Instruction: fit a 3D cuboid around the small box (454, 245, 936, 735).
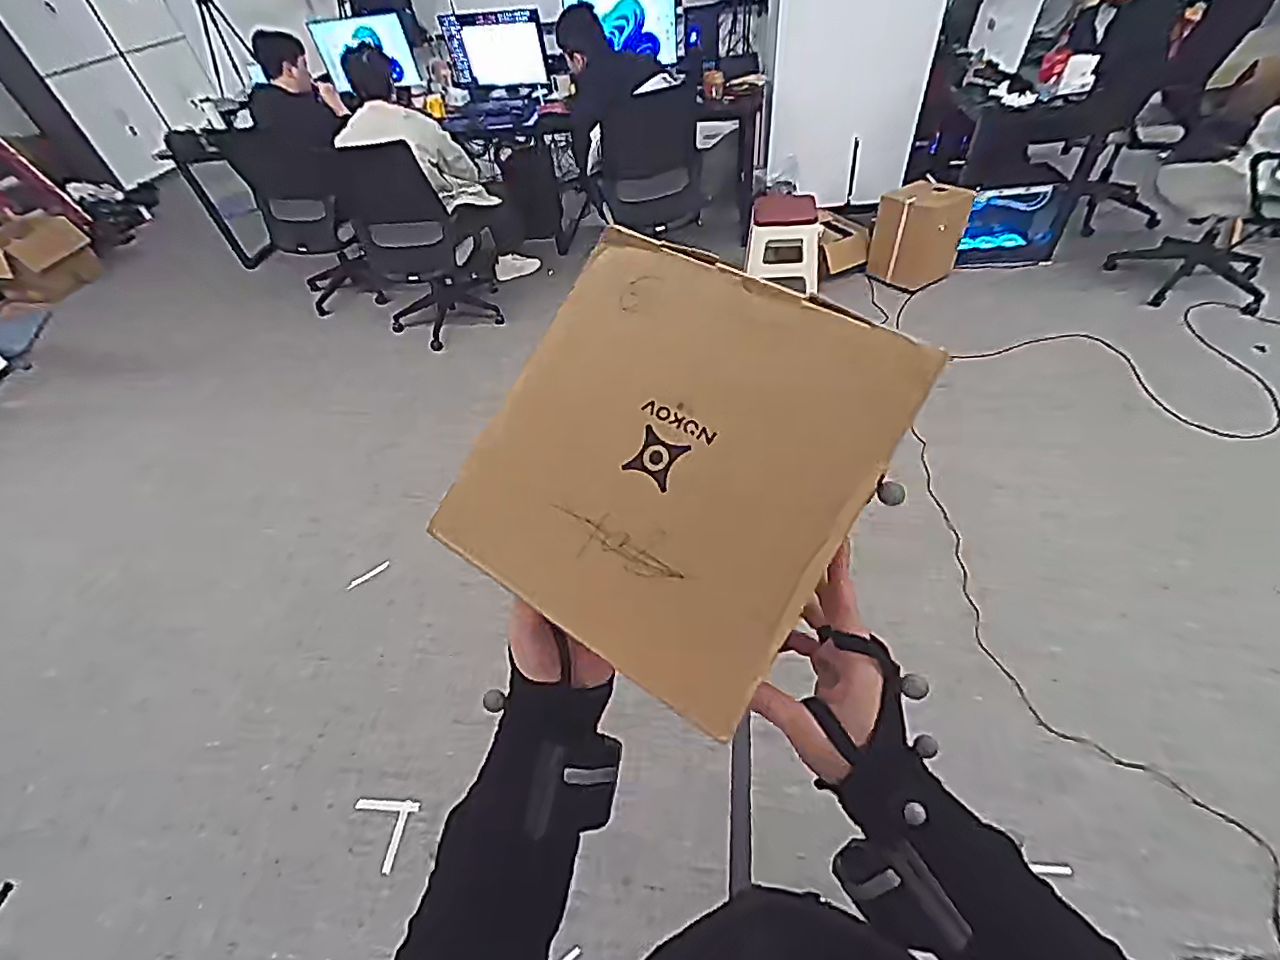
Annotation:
[{"bbox_3d":[0.037,0.006,0.319,0.168,0.176,0.179,29,89,21],"label":"small box"}]
